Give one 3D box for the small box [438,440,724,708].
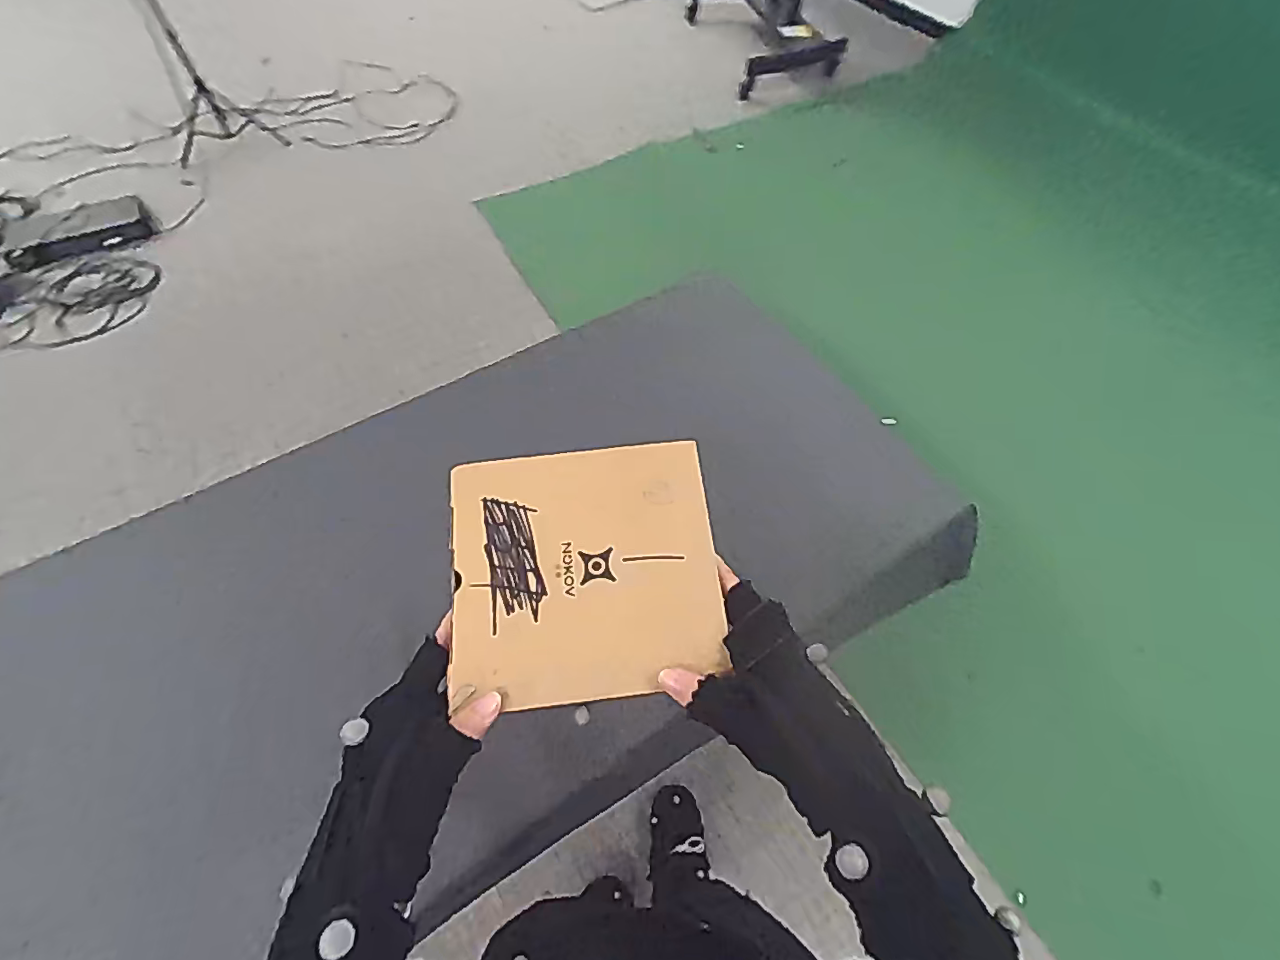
[{"bbox_3d":[-0.040,0.084,0.426,0.179,0.176,0.168,-6,69,-2],"label":"small box"}]
